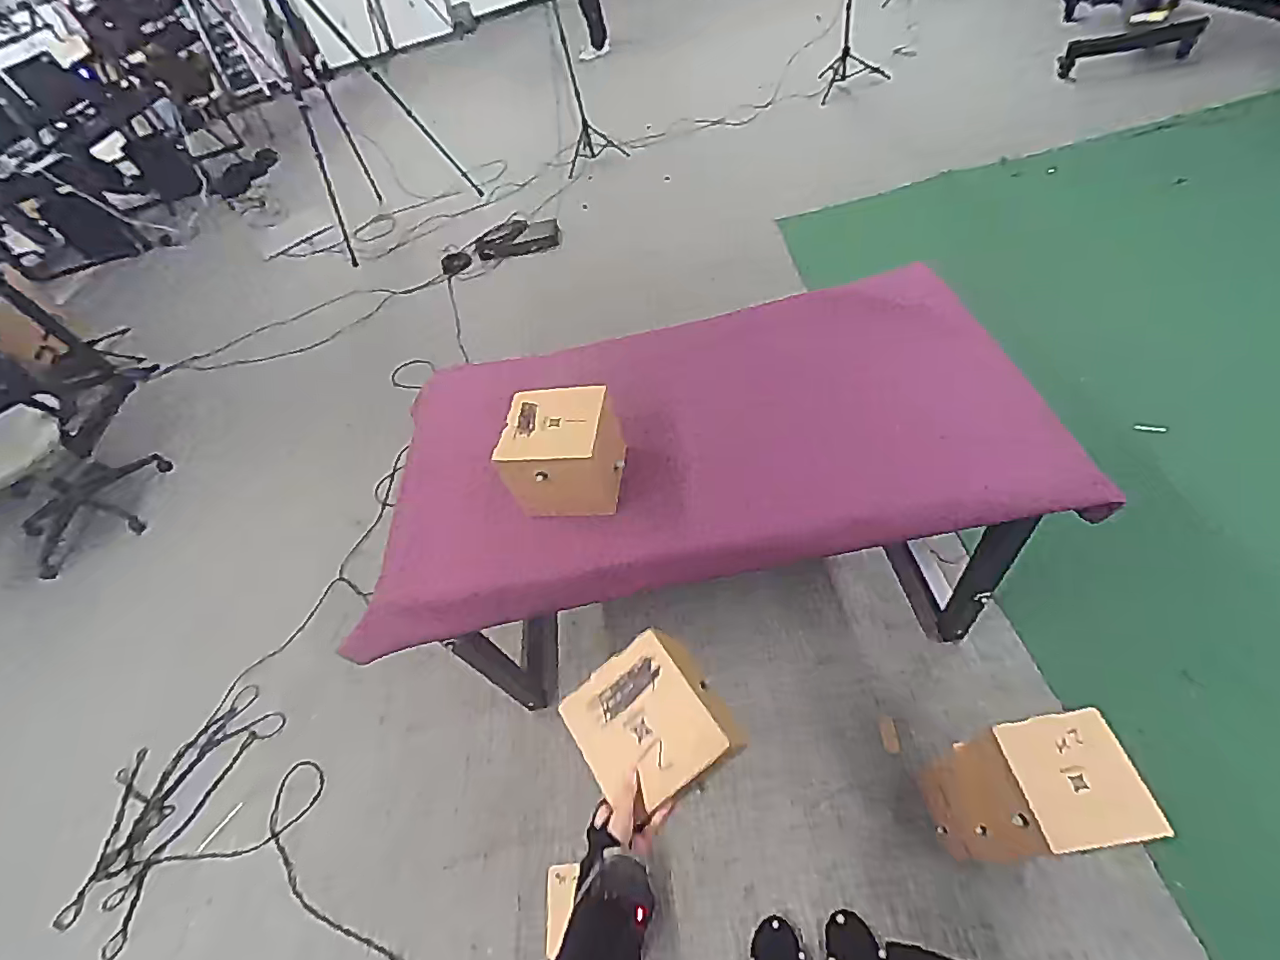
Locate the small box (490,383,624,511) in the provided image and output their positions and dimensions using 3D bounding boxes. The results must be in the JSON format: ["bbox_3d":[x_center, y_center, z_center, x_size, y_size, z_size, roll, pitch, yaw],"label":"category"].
[{"bbox_3d":[-0.139,-0.054,0.979,0.179,0.176,0.168,-1,53,12],"label":"small box"}]

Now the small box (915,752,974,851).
[{"bbox_3d":[0.702,0.671,1.137,0.179,0.176,0.168,-11,52,5],"label":"small box"}]

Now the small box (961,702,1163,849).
[{"bbox_3d":[0.659,0.481,0.874,0.168,0.176,0.179,-12,53,4],"label":"small box"}]

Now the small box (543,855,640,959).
[{"bbox_3d":[-0.098,0.914,1.156,0.168,0.176,0.179,-9,52,7],"label":"small box"}]
